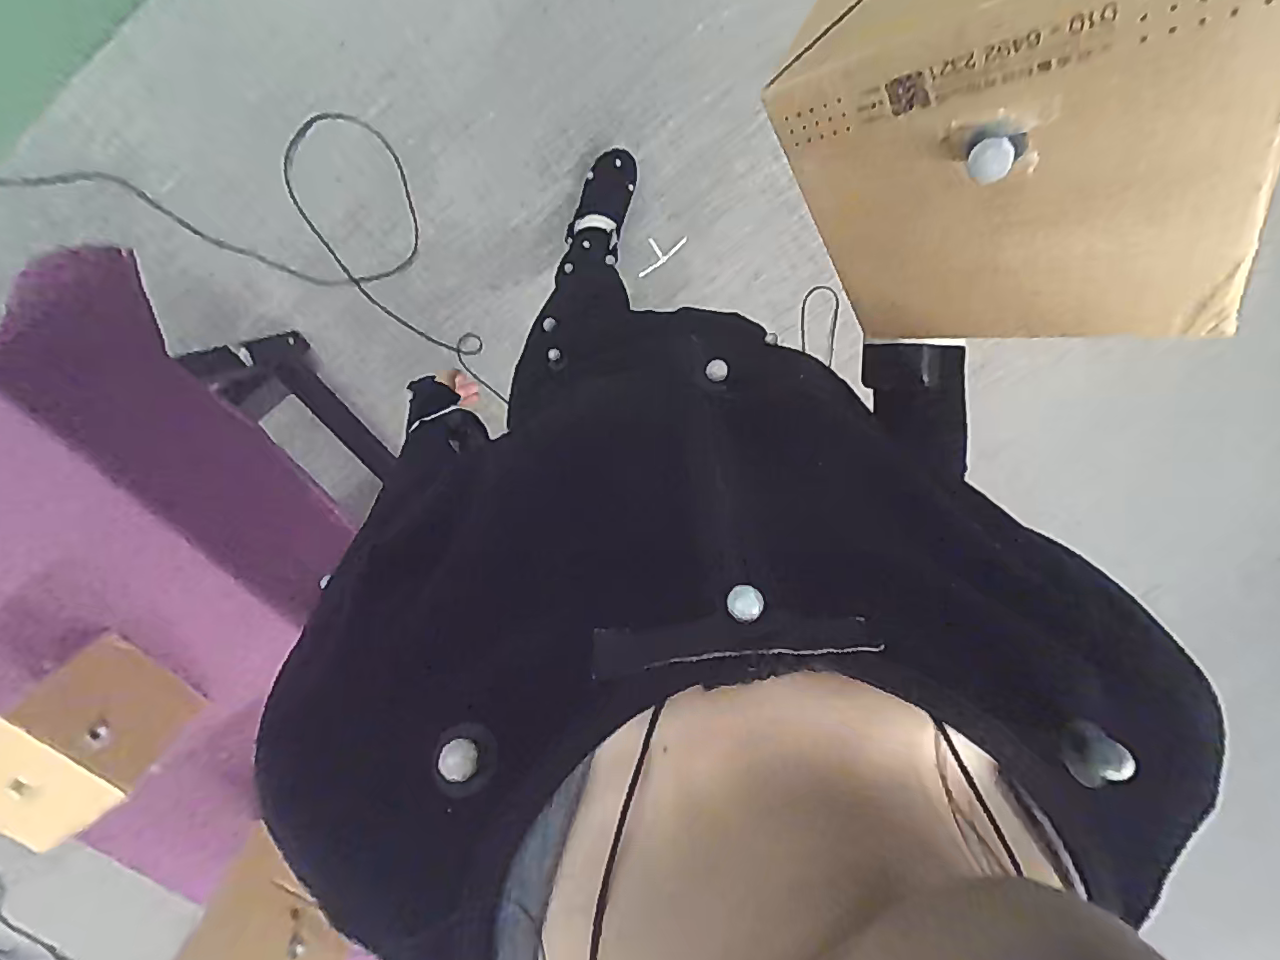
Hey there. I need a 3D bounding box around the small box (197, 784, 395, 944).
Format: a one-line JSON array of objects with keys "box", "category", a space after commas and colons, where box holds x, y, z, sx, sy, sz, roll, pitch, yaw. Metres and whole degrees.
[{"box": [-0.539, 0.642, 0.879, 0.168, 0.176, 0.179, -37, 109, 10], "category": "small box"}]

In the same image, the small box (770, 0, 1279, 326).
[{"box": [0.192, -0.197, 0.255, 0.176, 0.168, 0.179, 43, 71, -40], "category": "small box"}]

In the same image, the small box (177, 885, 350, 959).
[{"box": [-0.535, 0.700, 0.724, 0.179, 0.176, 0.168, -37, 110, 10], "category": "small box"}]

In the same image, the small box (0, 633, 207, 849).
[{"box": [-0.766, 0.350, 0.744, 0.168, 0.176, 0.179, -33, 110, 8], "category": "small box"}]
